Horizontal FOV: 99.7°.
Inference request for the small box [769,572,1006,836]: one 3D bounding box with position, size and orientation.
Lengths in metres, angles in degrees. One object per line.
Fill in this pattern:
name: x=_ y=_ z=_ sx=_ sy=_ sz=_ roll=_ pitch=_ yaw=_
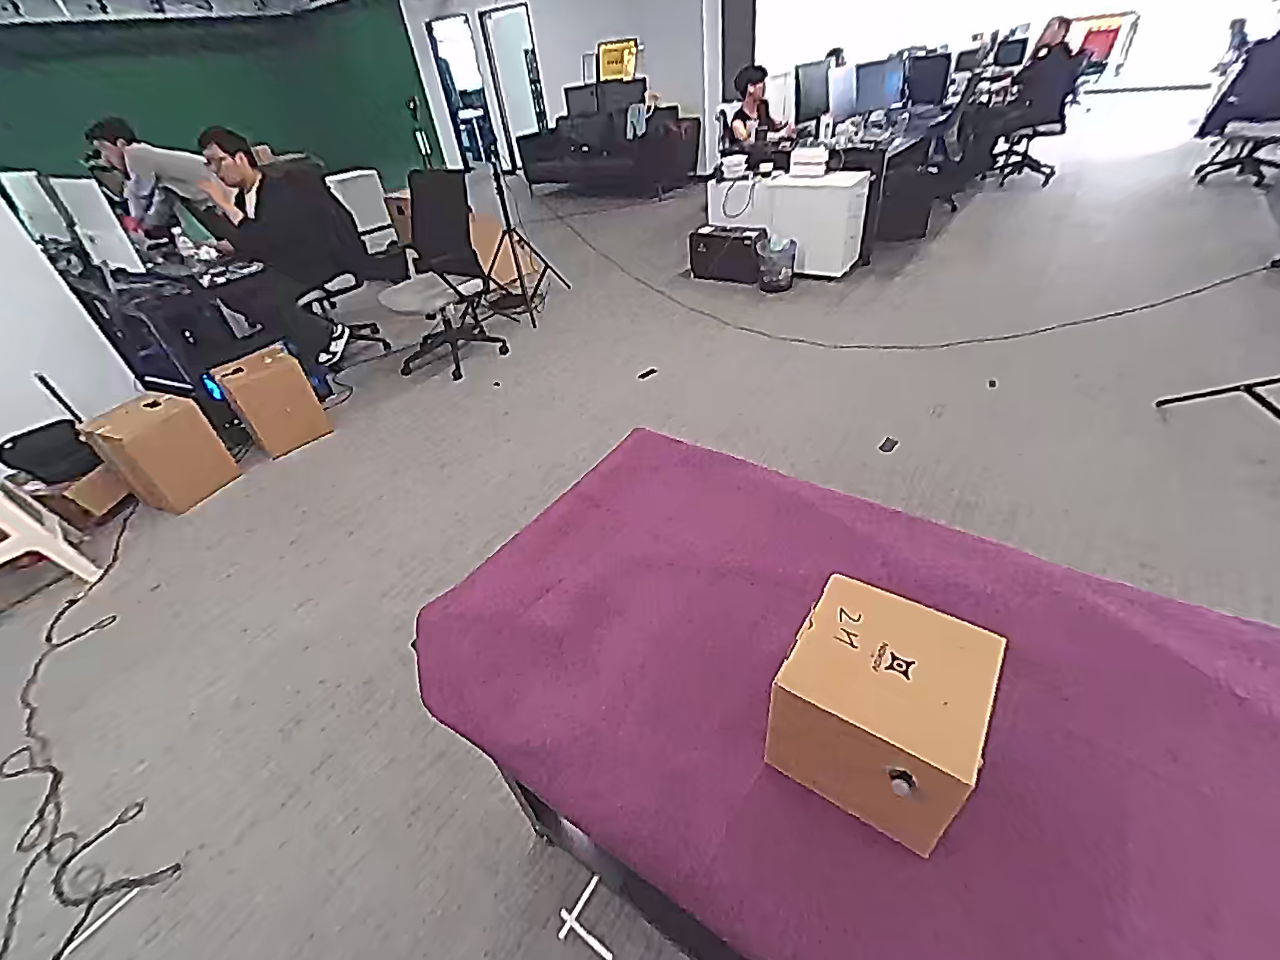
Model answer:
small box: x=0.252 y=0.236 z=0.575 sx=0.179 sy=0.176 sz=0.168 roll=20 pitch=44 yaw=30
